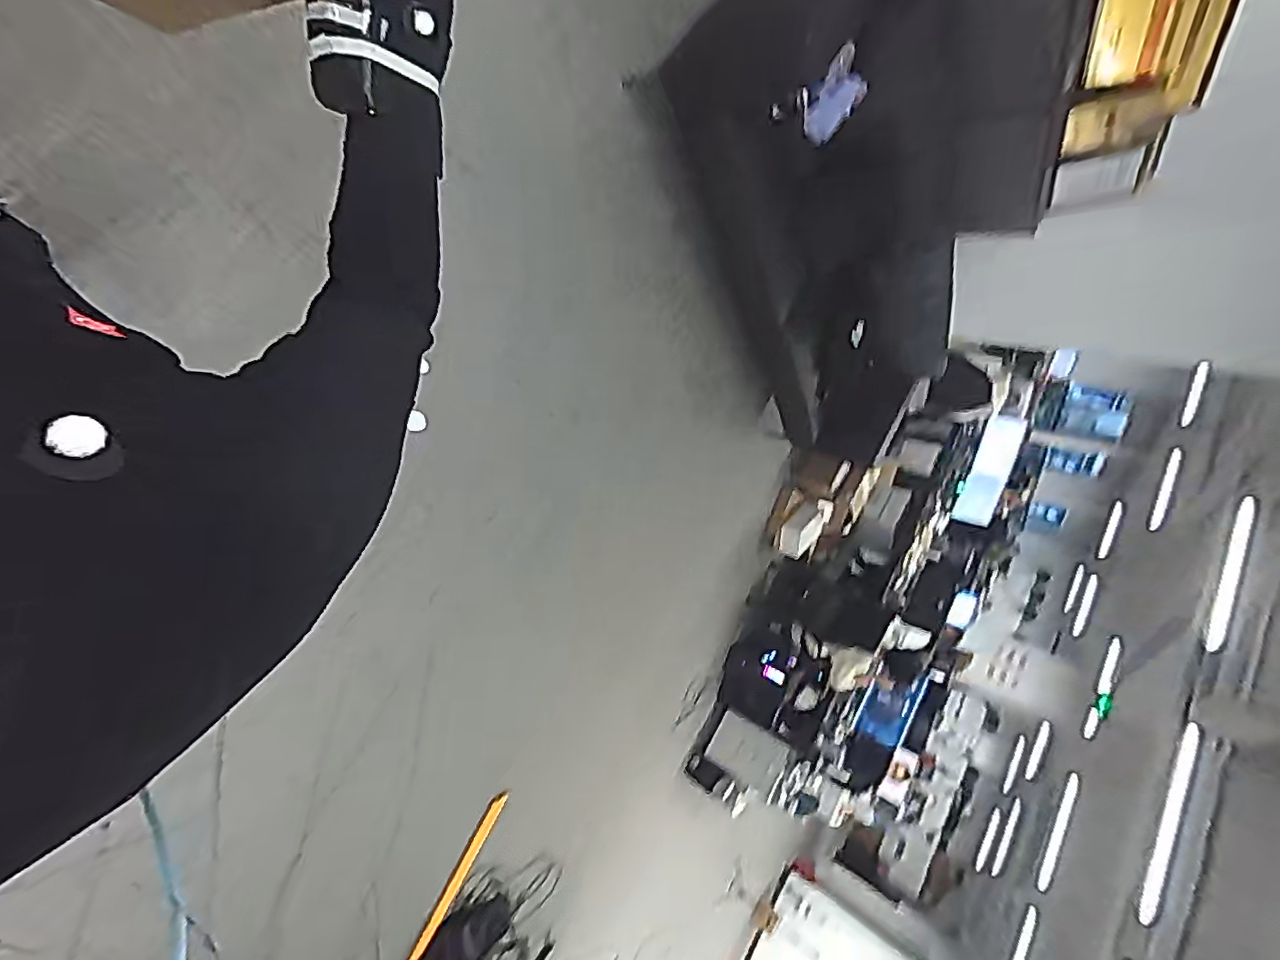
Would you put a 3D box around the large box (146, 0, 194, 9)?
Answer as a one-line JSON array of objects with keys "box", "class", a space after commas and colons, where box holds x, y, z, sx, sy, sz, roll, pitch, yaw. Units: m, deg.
[{"box": [-0.402, -0.508, 0.225, 0.408, 0.320, 0.320, -3, 116, -53], "class": "large box"}]
